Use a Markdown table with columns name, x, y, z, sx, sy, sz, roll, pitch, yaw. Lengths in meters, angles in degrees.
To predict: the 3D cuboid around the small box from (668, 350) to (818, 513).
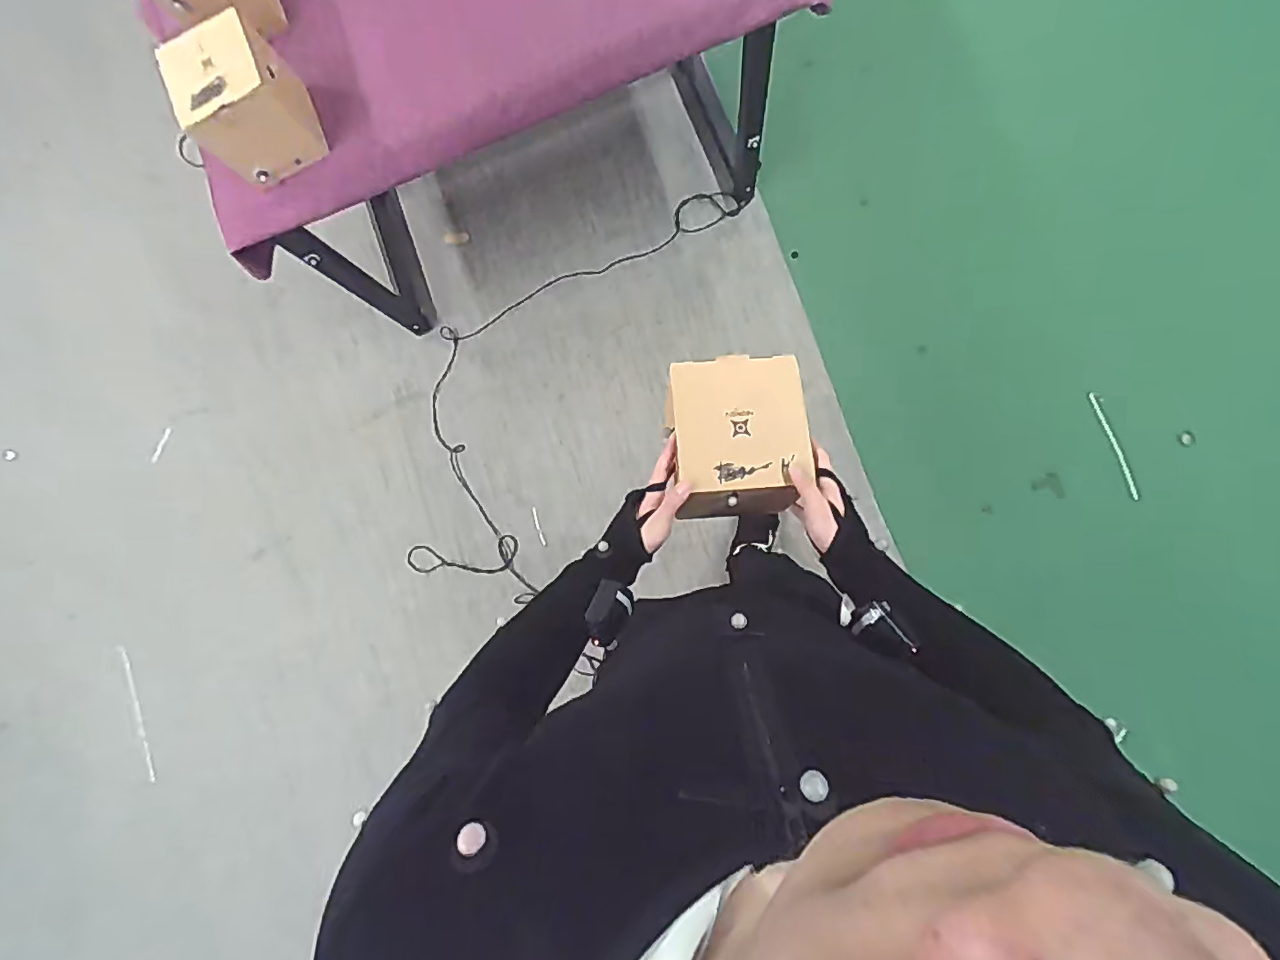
| name | x | y | z | sx | sy | sz | roll | pitch | yaw |
| --- | --- | --- | --- | --- | --- | --- | --- | --- | --- |
| small box | 0.127 | -0.058 | 0.741 | 0.168 | 0.176 | 0.179 | -4 | 77 | 0 |

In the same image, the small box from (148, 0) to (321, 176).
| name | x | y | z | sx | sy | sz | roll | pitch | yaw |
| --- | --- | --- | --- | --- | --- | --- | --- | --- | --- |
| small box | -0.726 | -0.695 | 0.987 | 0.168 | 0.176 | 0.179 | -24 | 81 | 4 |
